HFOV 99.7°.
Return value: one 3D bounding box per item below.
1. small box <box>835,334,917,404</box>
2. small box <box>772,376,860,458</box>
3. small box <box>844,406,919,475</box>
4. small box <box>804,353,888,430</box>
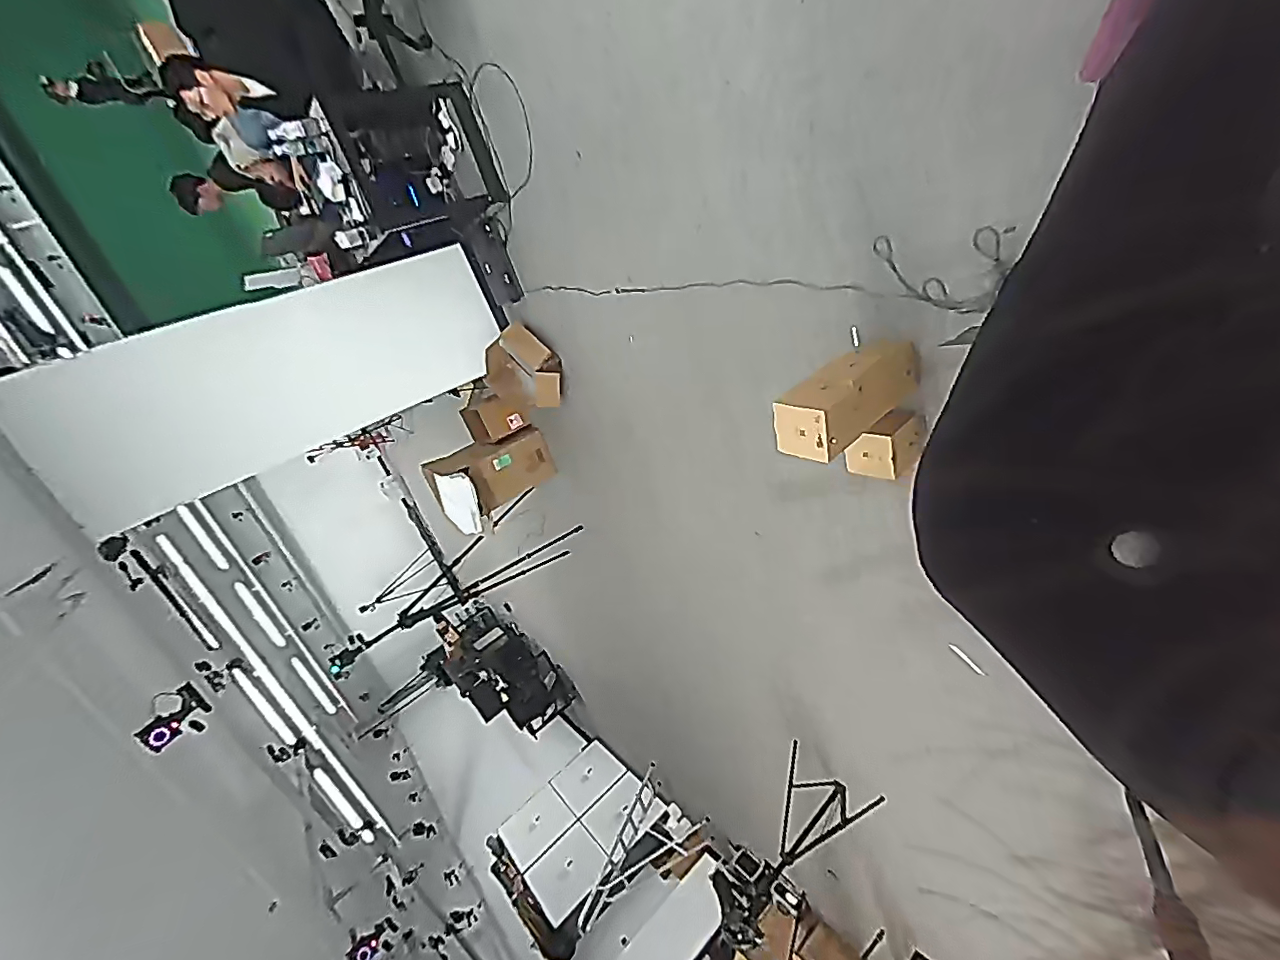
[{"bbox_3d":[0.750,-0.352,1.722,0.179,0.176,0.168,11,129,53],"label":"small box"},{"bbox_3d":[0.512,-0.190,1.567,0.179,0.176,0.168,23,138,48],"label":"small box"},{"bbox_3d":[0.816,-0.142,1.832,0.179,0.176,0.168,17,134,49],"label":"small box"},{"bbox_3d":[0.631,-0.273,1.645,0.168,0.176,0.179,14,131,52],"label":"small box"}]
